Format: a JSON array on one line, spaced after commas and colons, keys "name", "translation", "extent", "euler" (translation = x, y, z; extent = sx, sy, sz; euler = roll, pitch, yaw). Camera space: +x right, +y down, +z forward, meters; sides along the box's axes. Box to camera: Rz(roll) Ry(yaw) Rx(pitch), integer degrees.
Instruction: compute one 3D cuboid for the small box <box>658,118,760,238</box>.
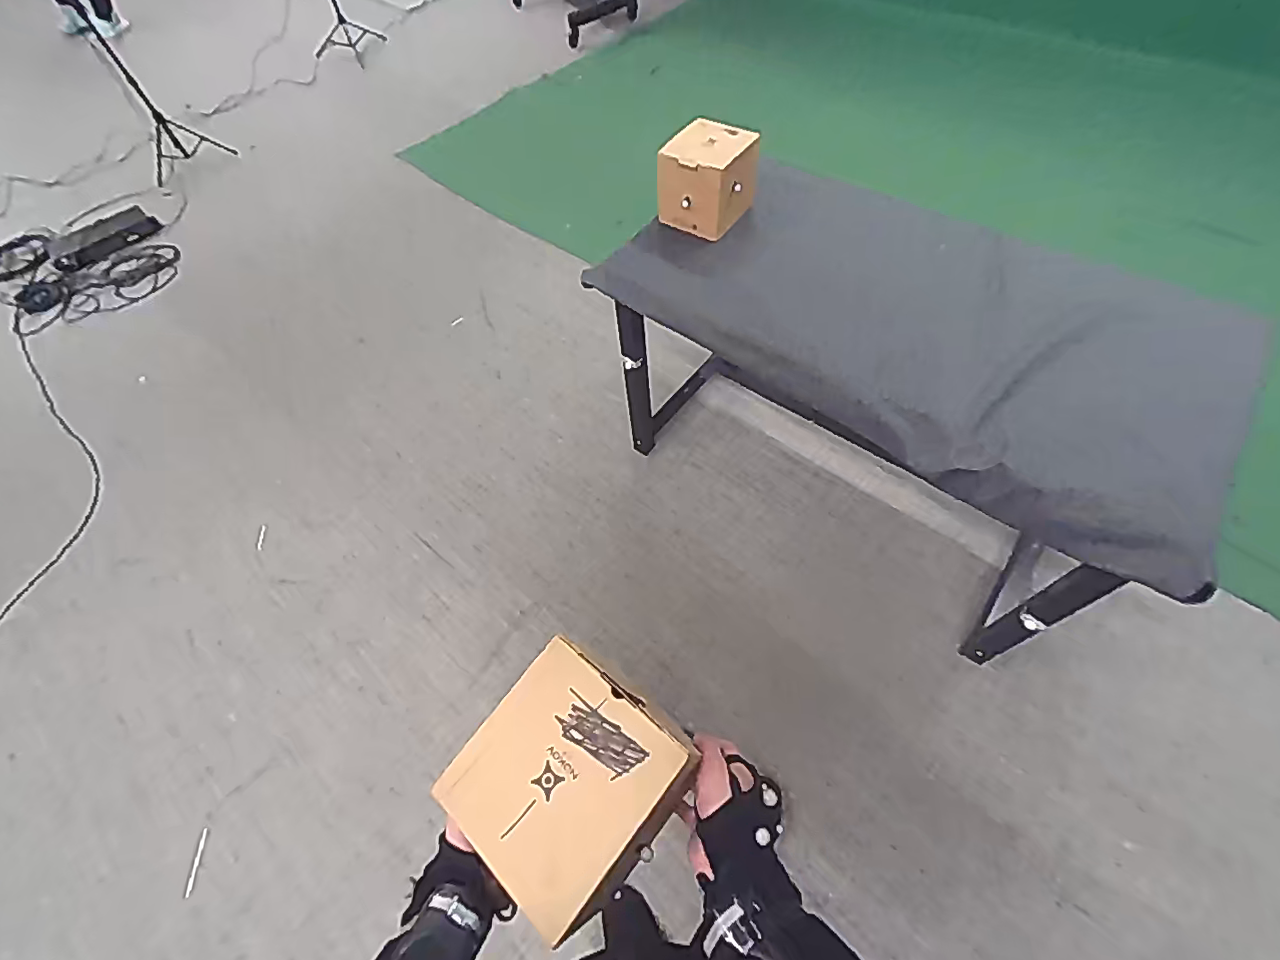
[{"name": "small box", "translation": [0.160, -0.700, 1.261], "extent": [0.168, 0.176, 0.179], "euler": [30, 65, 20]}]
